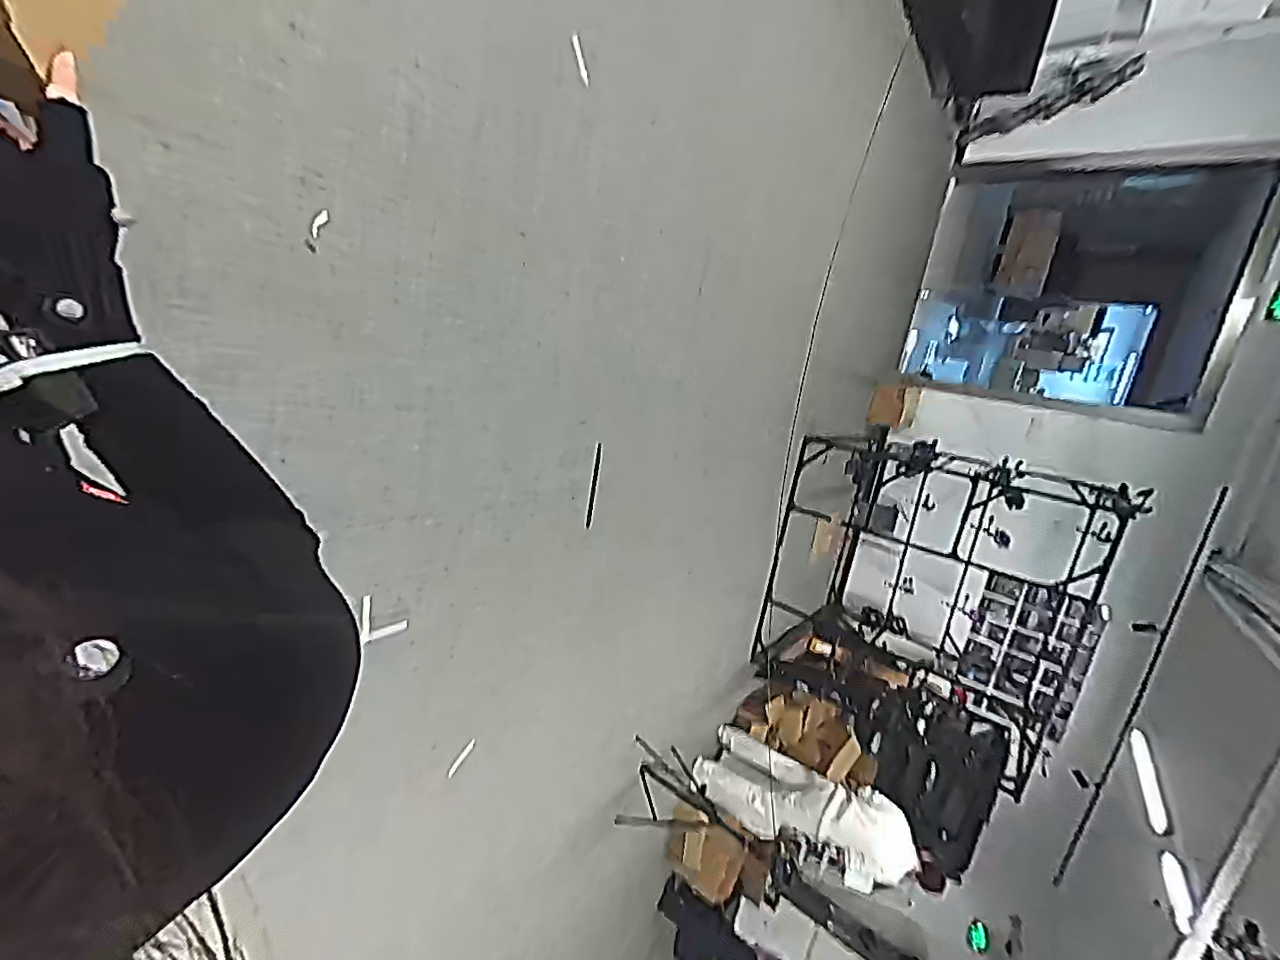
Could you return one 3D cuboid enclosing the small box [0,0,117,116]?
[{"bbox_3d":[-0.421,-0.351,0.282,0.179,0.168,0.176,10,70,-20],"label":"small box"}]
